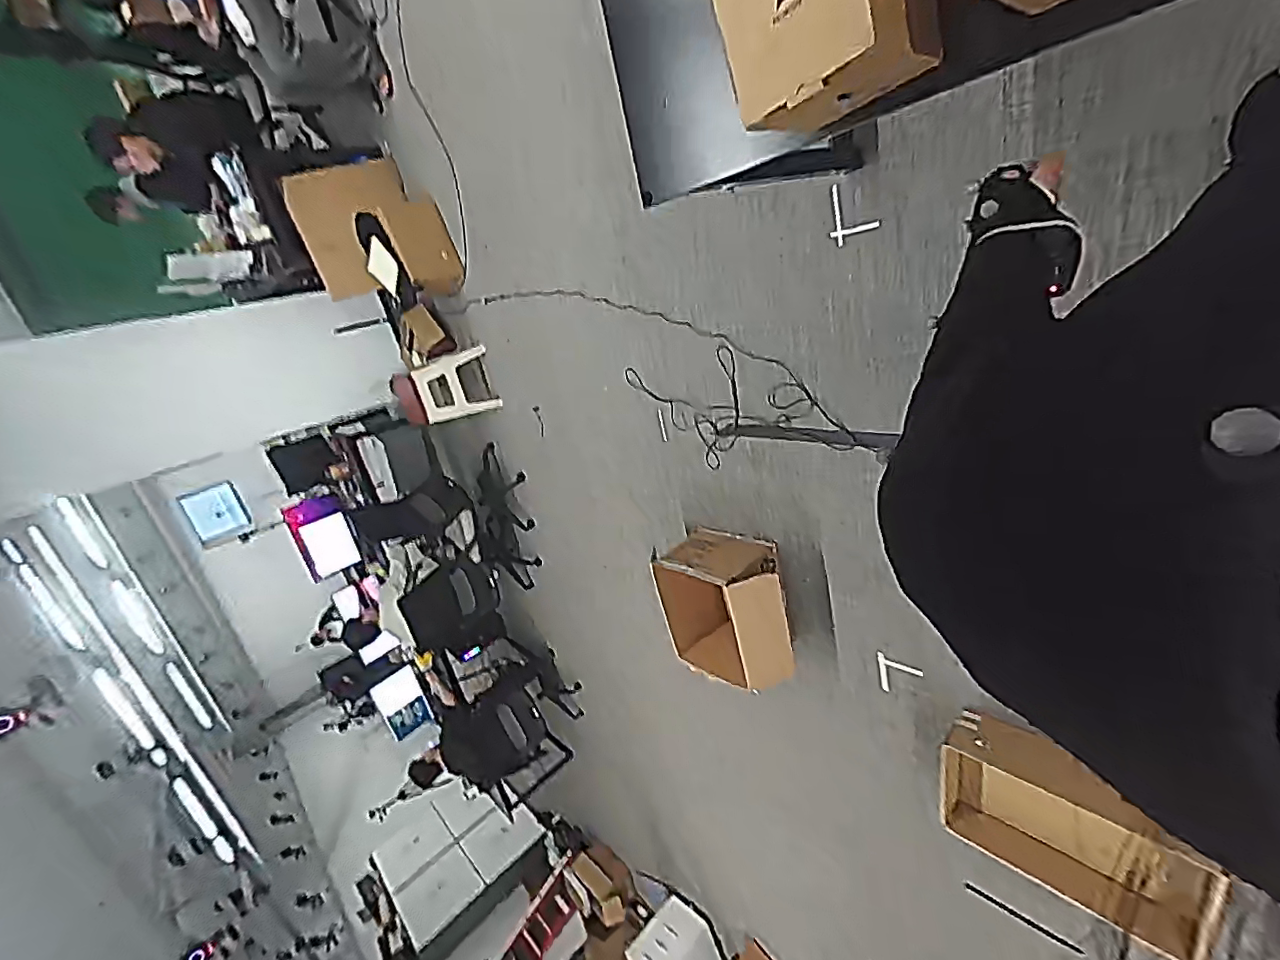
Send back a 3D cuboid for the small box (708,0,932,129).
[{"bbox_3d":[0.201,-0.526,0.602,0.168,0.176,0.179,1,114,51],"label":"small box"}]
